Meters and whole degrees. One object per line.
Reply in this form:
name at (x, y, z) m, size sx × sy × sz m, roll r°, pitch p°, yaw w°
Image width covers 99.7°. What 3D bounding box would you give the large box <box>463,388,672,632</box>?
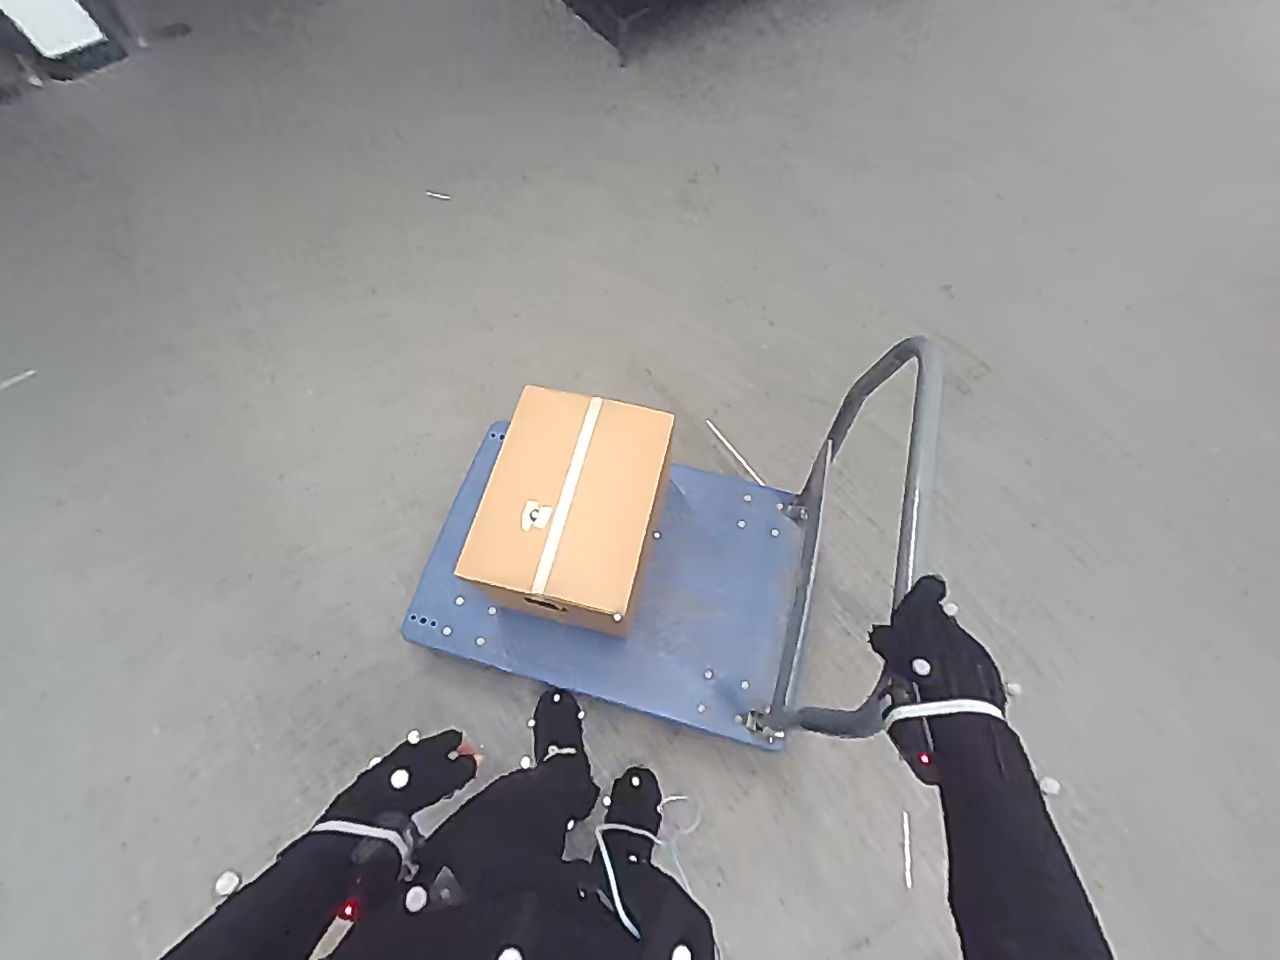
large box at (-0.123, 0.074, 1.151) m, size 0.320 × 0.320 × 0.408 m, roll 12°, pitch 69°, yaw 7°
